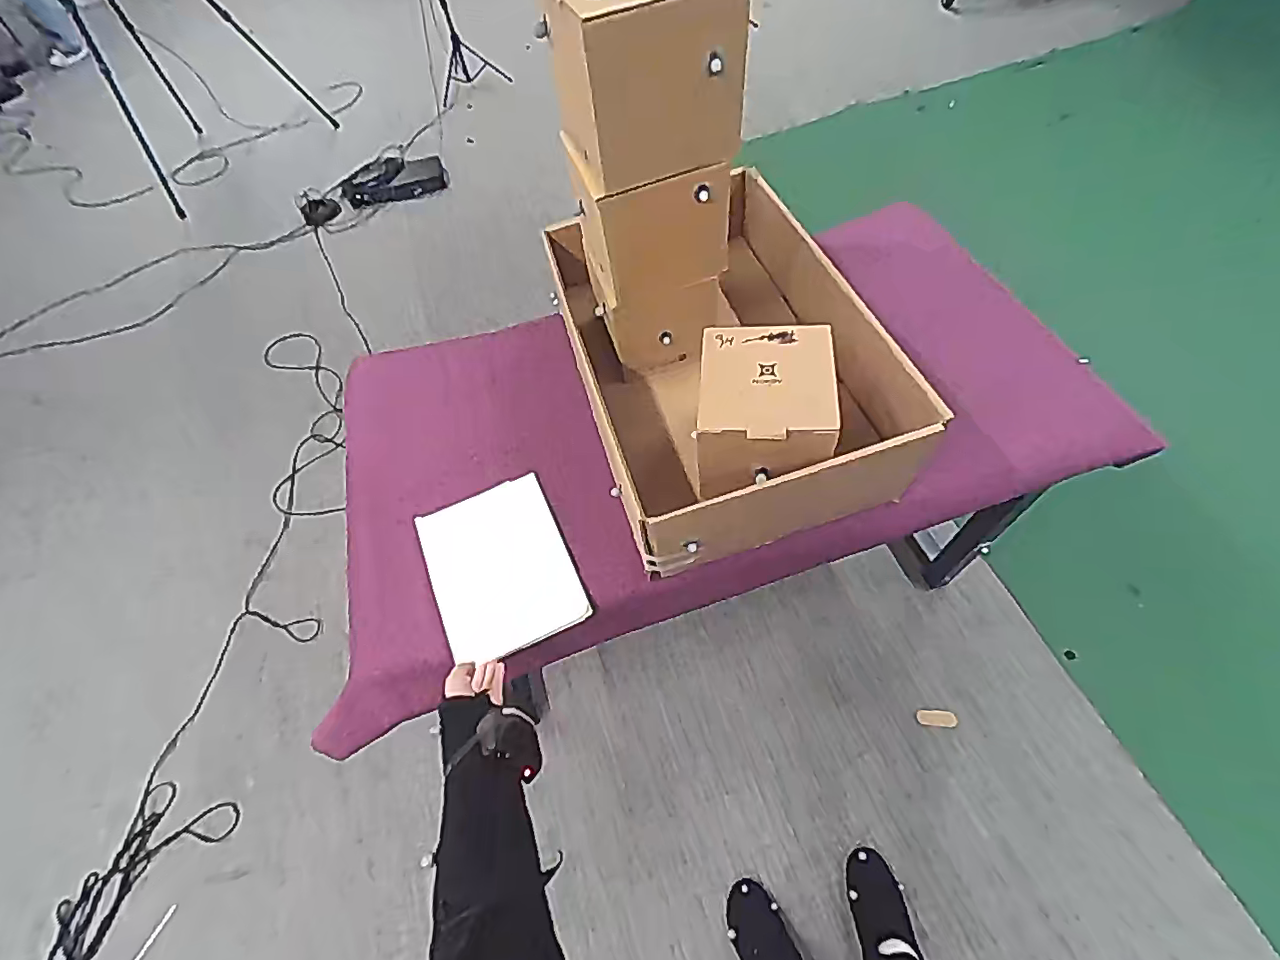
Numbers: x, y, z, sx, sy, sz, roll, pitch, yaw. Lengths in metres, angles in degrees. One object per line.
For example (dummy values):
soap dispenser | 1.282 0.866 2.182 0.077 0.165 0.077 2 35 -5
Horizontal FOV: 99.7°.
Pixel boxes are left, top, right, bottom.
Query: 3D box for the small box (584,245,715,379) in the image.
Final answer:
small box | 0.020 -0.287 0.891 0.168 0.176 0.179 -18 59 -3

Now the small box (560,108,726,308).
small box | 0.009 -0.369 0.751 0.179 0.176 0.168 -20 59 -5
